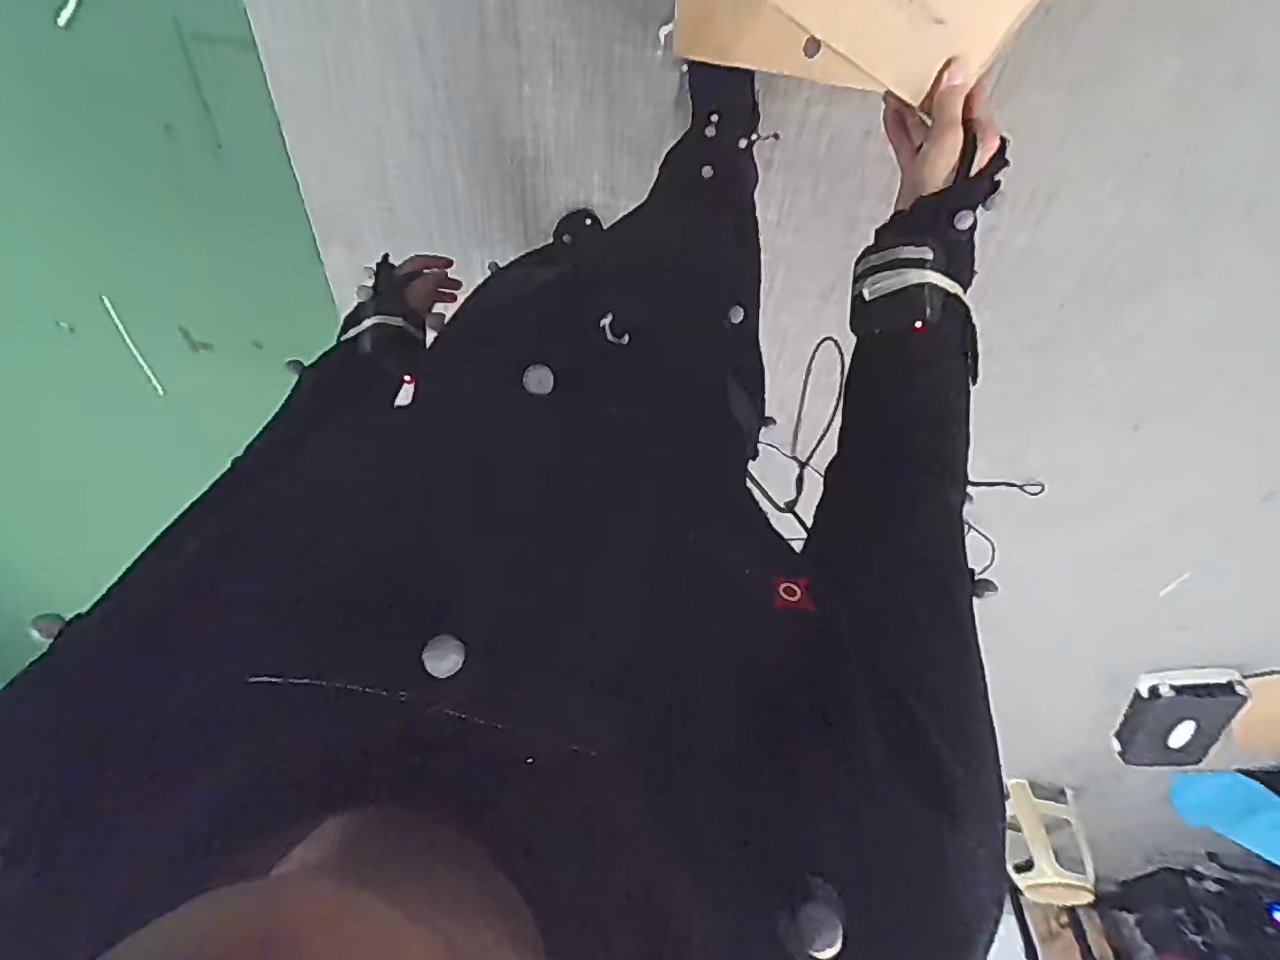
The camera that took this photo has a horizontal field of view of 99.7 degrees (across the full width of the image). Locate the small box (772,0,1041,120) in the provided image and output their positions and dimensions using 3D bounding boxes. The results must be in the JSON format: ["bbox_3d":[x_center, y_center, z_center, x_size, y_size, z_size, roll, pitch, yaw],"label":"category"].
[{"bbox_3d":[0.209,-0.415,0.397,0.168,0.176,0.179,22,134,-13],"label":"small box"}]
